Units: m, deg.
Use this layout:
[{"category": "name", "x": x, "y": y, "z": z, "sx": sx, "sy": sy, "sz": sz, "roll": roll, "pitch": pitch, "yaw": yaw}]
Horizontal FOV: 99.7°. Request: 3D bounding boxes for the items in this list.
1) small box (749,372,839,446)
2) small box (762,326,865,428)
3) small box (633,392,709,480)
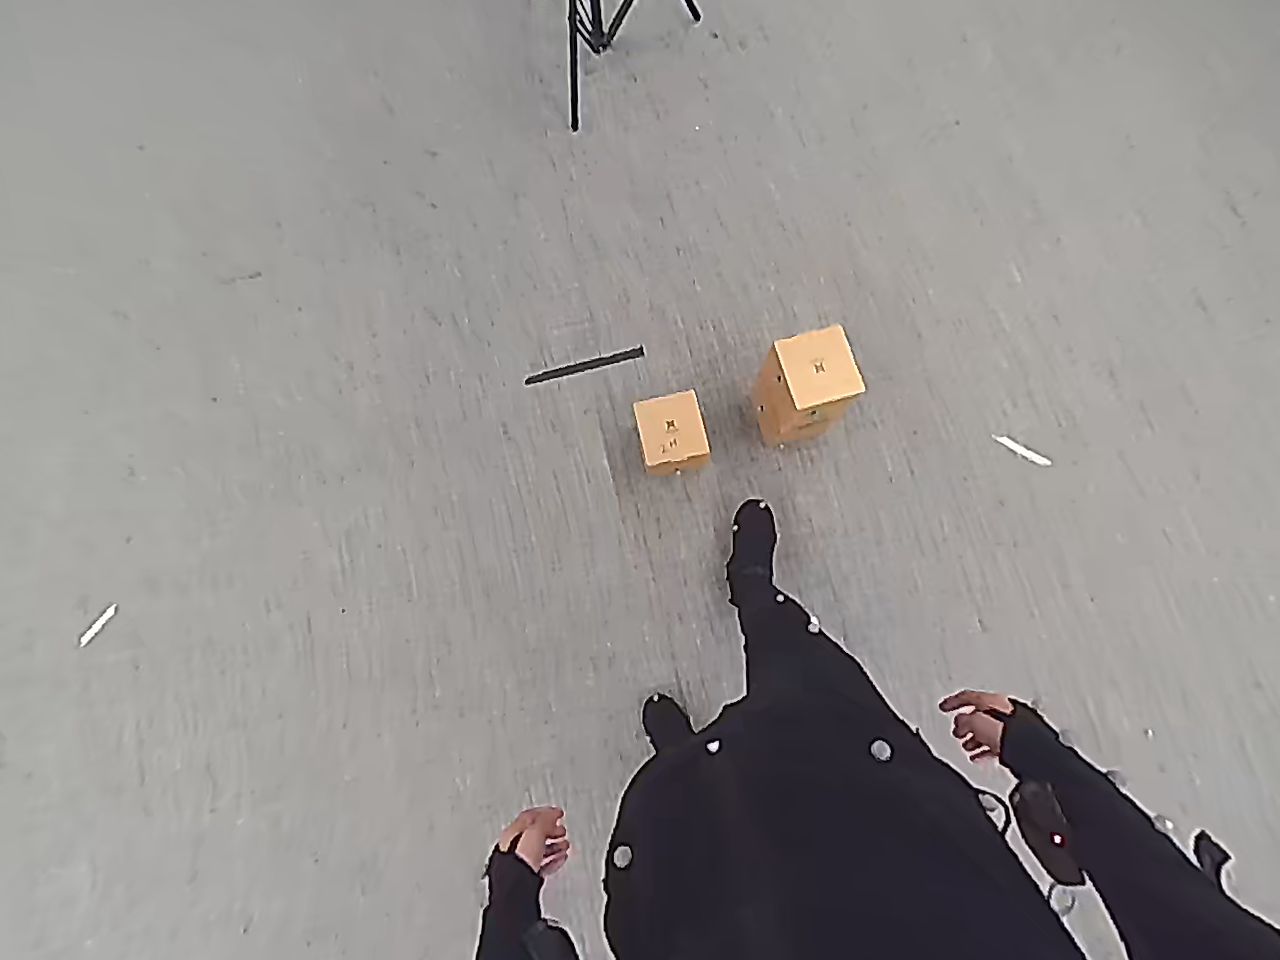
[{"category": "small box", "x": 0.408, "y": -0.201, "z": 1.456, "sx": 0.168, "sy": 0.176, "sz": 0.179, "roll": -16, "pitch": 77, "yaw": -2}, {"category": "small box", "x": 0.406, "y": -0.236, "z": 1.298, "sx": 0.168, "sy": 0.176, "sz": 0.179, "roll": -16, "pitch": 77, "yaw": -2}, {"category": "small box", "x": 0.079, "y": -0.113, "z": 1.447, "sx": 0.168, "sy": 0.176, "sz": 0.179, "roll": -13, "pitch": 79, "yaw": -1}]
